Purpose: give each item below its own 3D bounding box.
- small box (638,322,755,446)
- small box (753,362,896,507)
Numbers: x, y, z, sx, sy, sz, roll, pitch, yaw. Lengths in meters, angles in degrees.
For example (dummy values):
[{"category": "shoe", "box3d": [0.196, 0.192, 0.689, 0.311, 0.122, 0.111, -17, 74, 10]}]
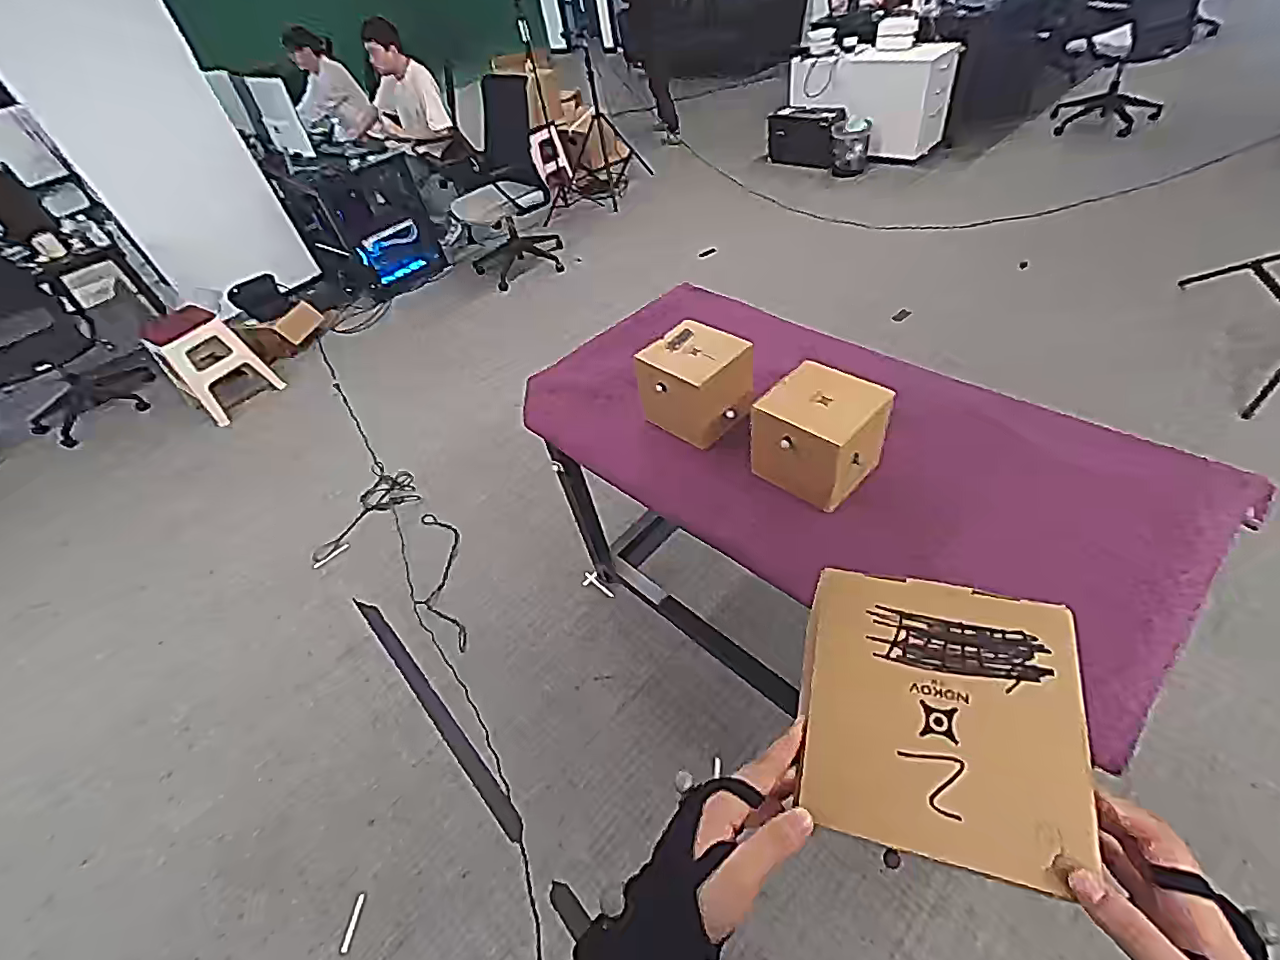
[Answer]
[{"category": "small box", "box3d": [0.121, -0.198, 1.131, 0.168, 0.176, 0.179, -40, 52, -24]}, {"category": "small box", "box3d": [0.323, -0.077, 0.973, 0.168, 0.176, 0.179, -39, 52, -24]}]
